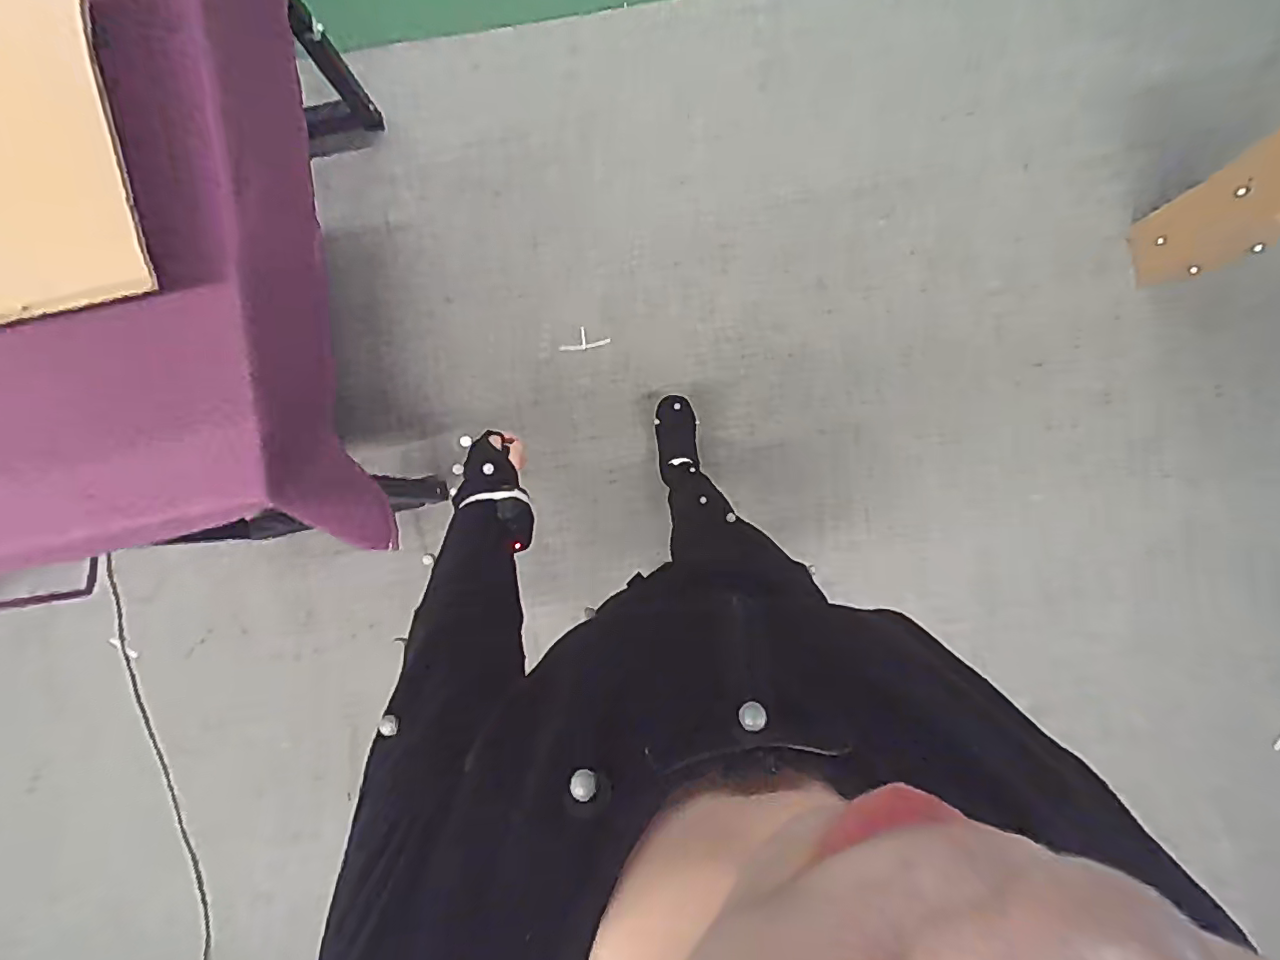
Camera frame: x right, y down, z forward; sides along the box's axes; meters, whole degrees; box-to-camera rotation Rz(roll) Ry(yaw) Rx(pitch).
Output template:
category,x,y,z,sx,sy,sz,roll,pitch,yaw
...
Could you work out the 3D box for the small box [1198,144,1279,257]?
category,x,y,z,sx,sy,sz,roll,pitch,yaw
small box,1.446,-0.641,1.240,0.168,0.176,0.179,-5,86,3
